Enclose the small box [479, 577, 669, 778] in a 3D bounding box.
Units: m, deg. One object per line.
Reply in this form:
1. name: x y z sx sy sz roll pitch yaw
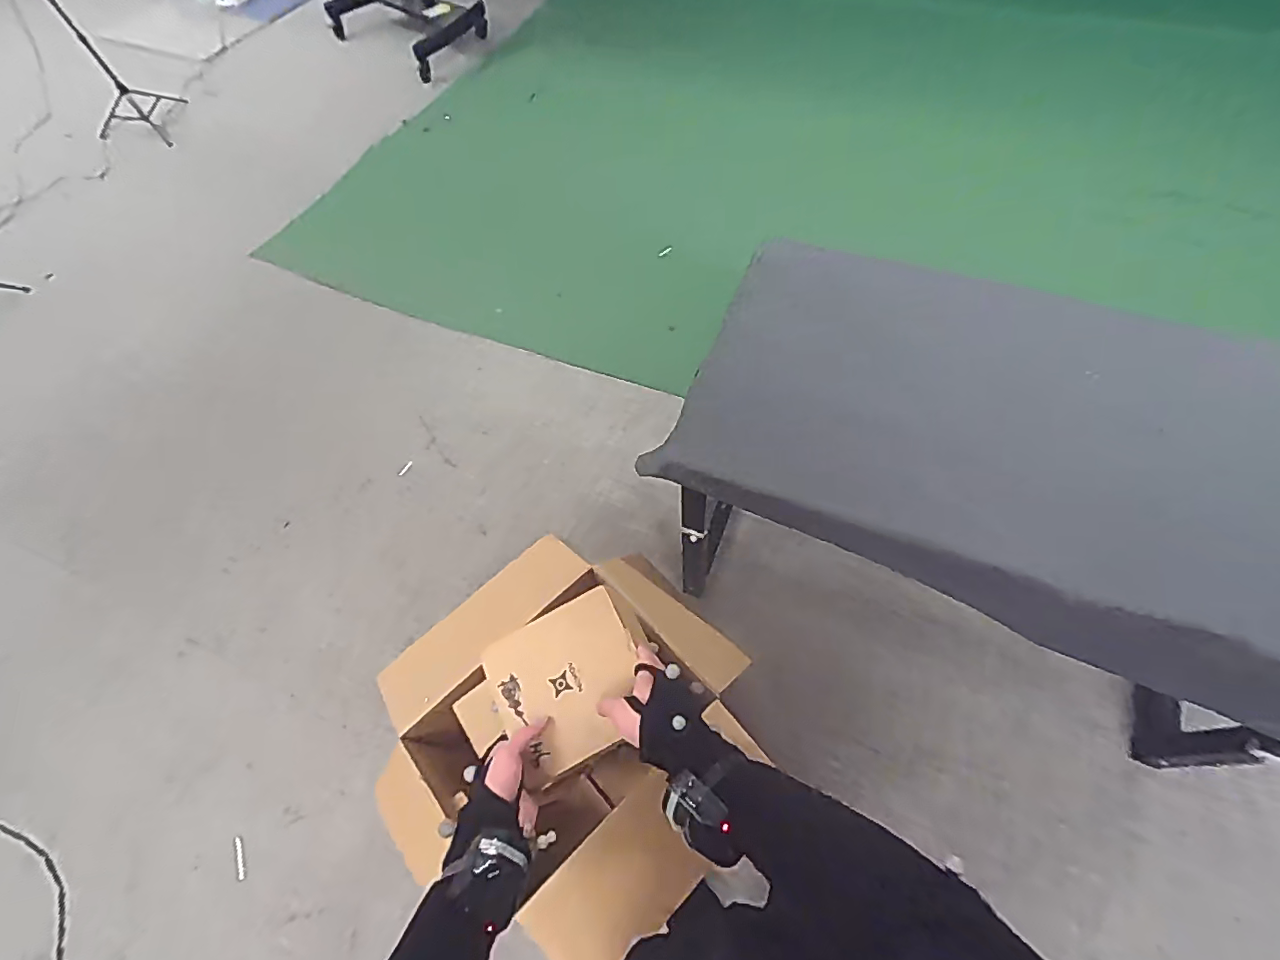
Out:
1. small box: -0.071 0.248 0.690 0.179 0.176 0.168 -27 66 -3
